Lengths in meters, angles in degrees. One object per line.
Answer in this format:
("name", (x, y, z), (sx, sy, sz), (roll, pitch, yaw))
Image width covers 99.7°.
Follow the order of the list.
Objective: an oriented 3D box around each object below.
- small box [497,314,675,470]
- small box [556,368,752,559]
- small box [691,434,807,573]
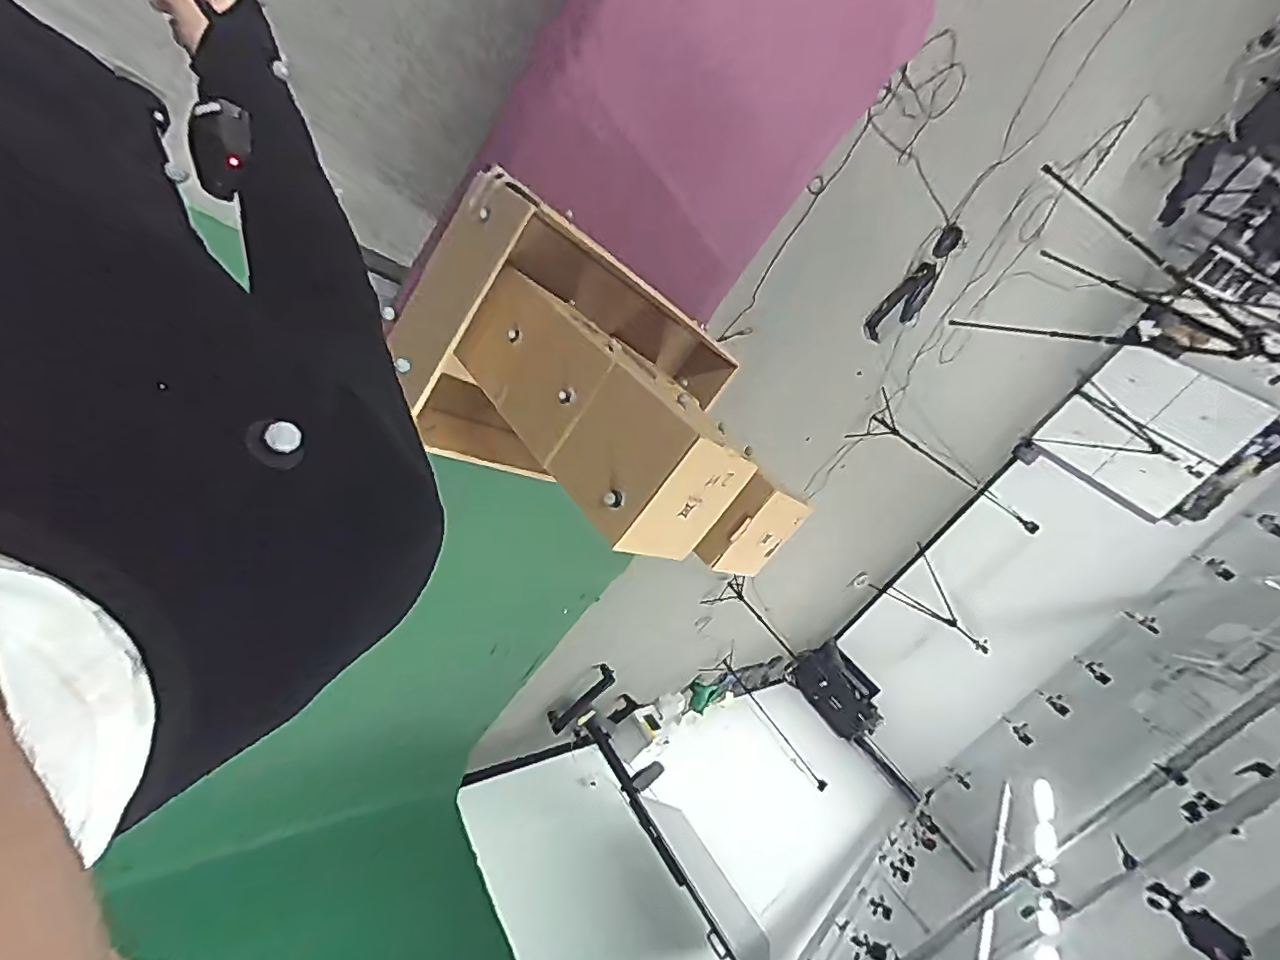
("small box", (-0.086, -0.119, 0.821), (0.179, 0.176, 0.168), (-52, 146, 12))
("small box", (0.012, -0.018, 0.733), (0.179, 0.176, 0.168), (-53, 146, 13))
("small box", (0.153, 0.040, 0.948), (0.168, 0.176, 0.179), (-52, 144, 13))
